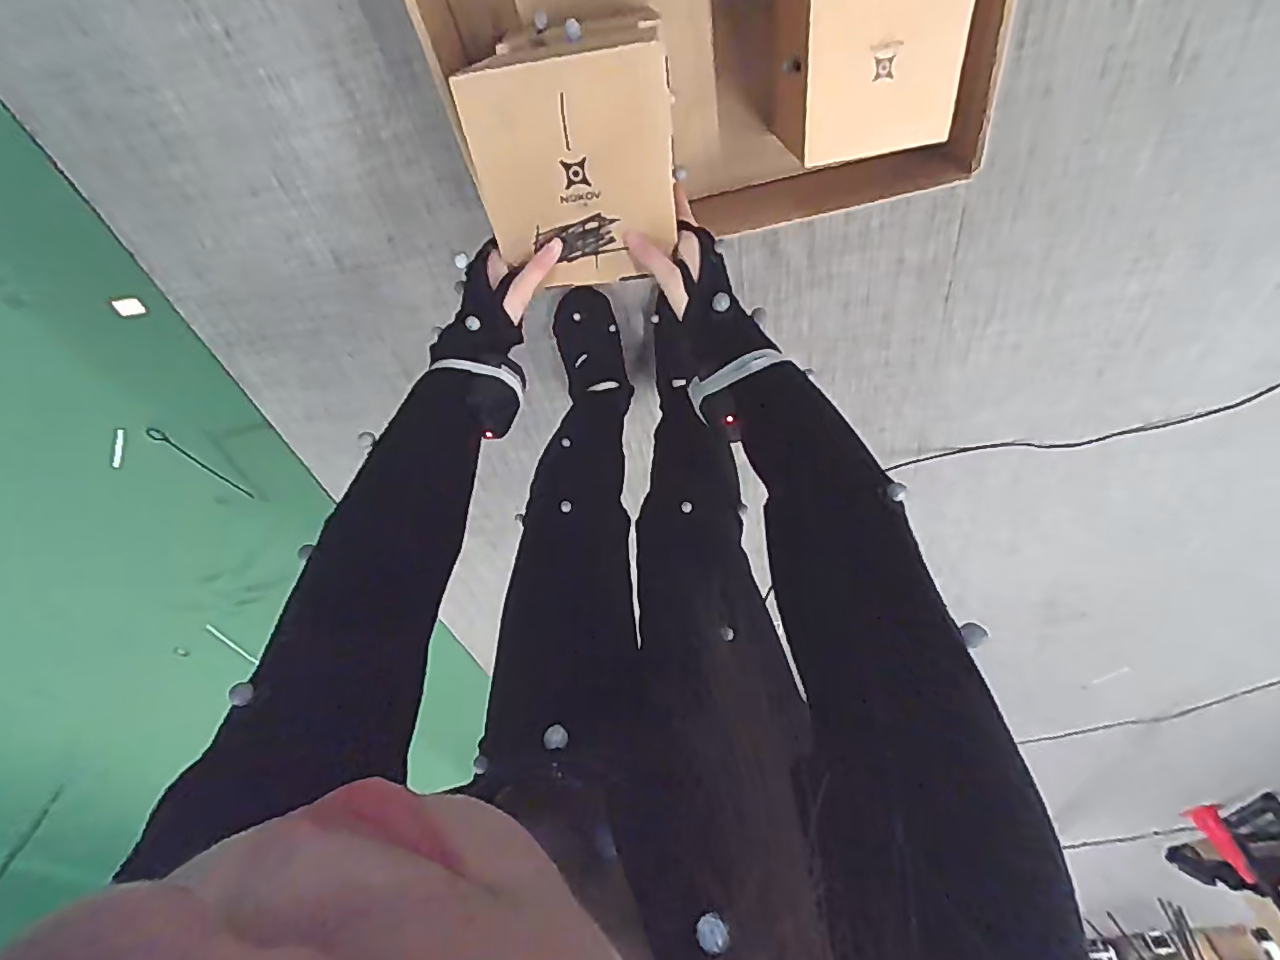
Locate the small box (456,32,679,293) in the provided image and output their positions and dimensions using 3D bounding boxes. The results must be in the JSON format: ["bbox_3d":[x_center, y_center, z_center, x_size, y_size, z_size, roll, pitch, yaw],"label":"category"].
[{"bbox_3d":[-0.050,-0.307,0.525,0.168,0.176,0.179,-5,131,6],"label":"small box"}]
